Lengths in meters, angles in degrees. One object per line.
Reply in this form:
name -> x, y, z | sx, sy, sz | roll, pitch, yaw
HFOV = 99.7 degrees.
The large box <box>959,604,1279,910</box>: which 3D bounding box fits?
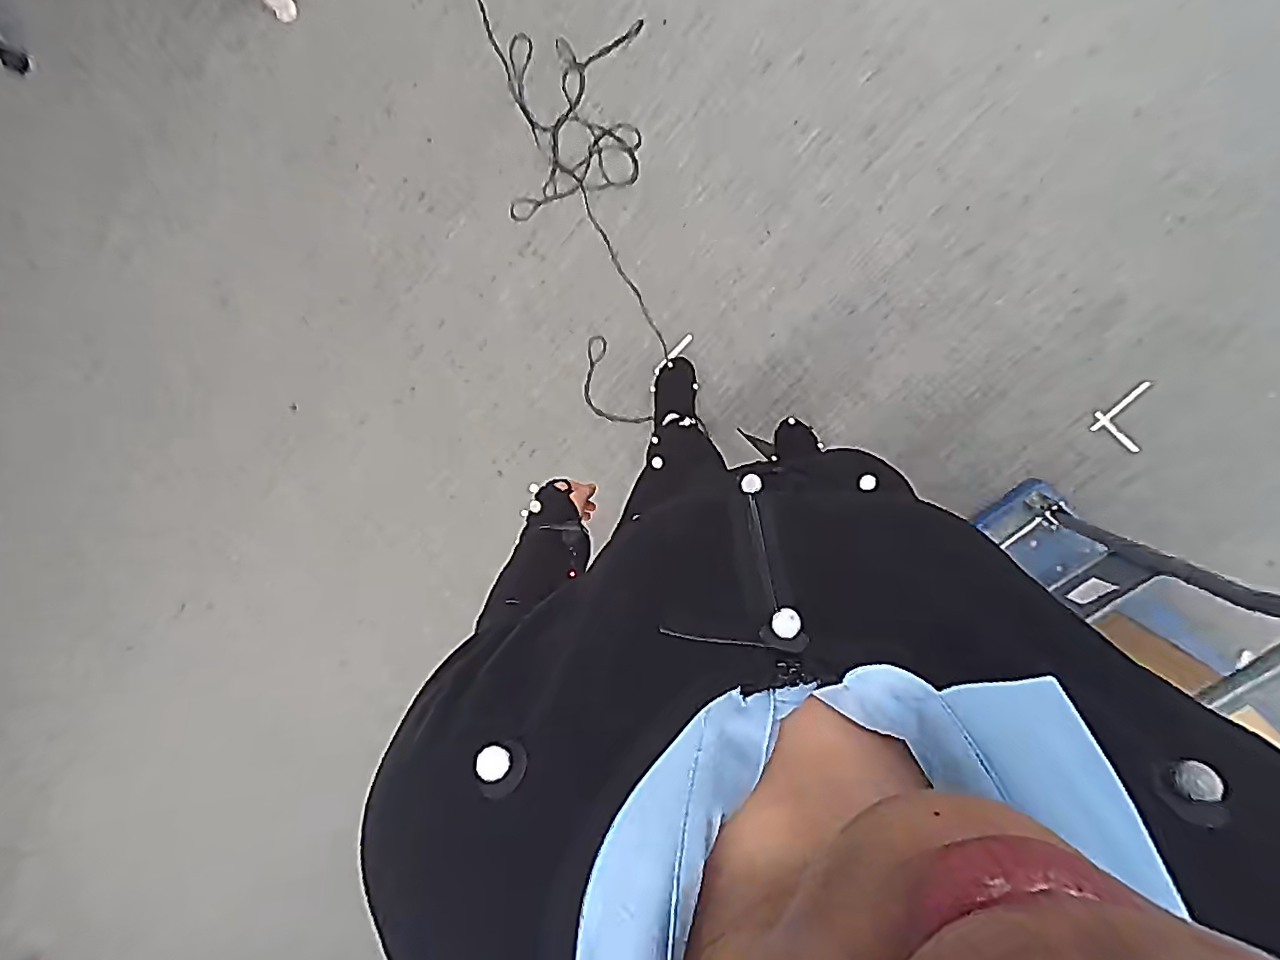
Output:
large box -> 0.970, 0.534, 1.100 | 0.408, 0.320, 0.320 | -43, 91, 14
